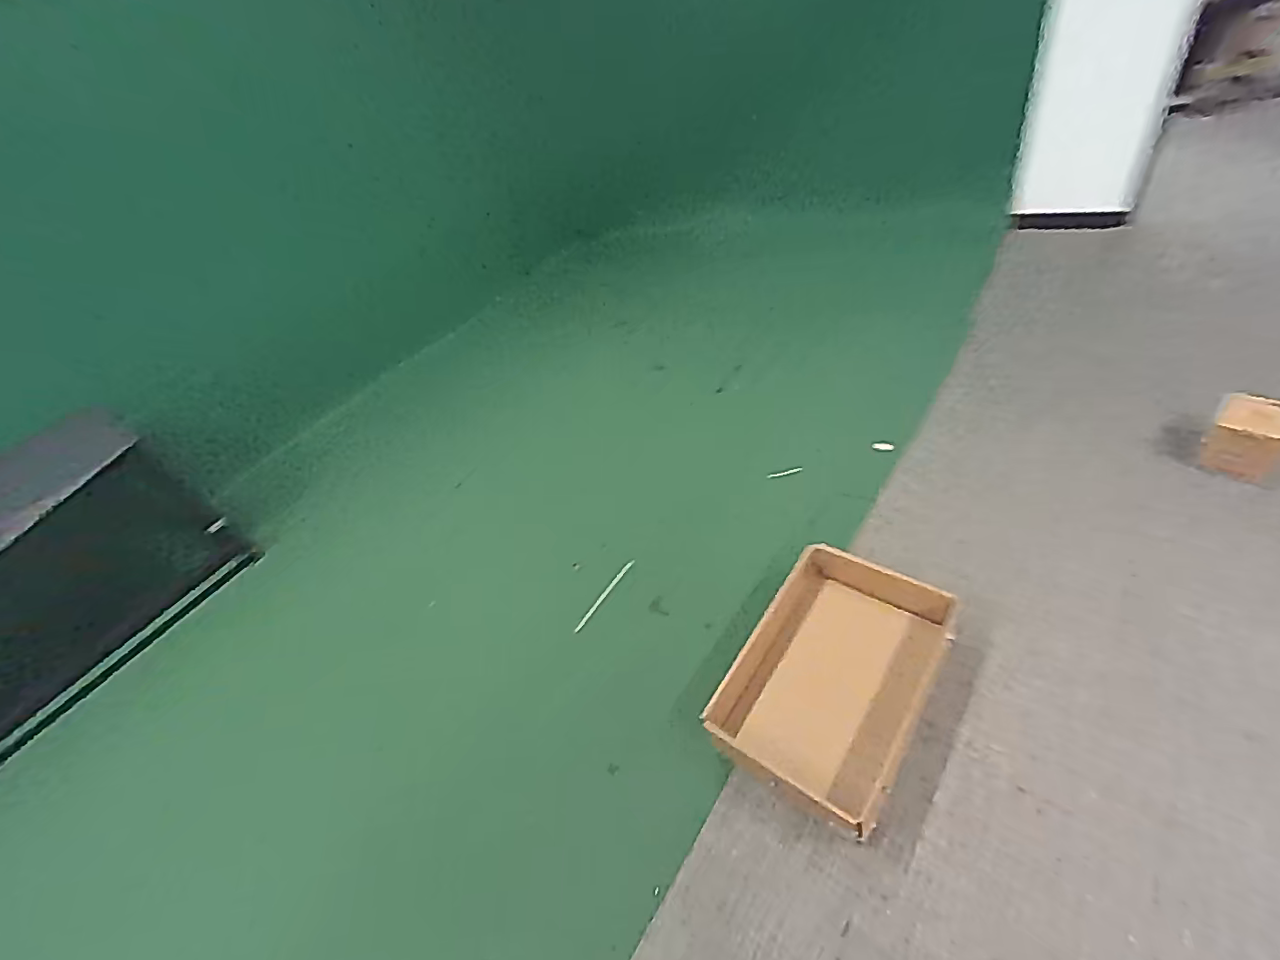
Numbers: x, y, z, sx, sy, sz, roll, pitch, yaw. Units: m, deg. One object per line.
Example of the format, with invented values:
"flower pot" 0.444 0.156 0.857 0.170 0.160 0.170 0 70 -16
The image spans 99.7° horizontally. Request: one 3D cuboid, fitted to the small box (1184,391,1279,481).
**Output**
"small box" 1.758 -0.126 1.588 0.179 0.176 0.168 -40 46 -20
